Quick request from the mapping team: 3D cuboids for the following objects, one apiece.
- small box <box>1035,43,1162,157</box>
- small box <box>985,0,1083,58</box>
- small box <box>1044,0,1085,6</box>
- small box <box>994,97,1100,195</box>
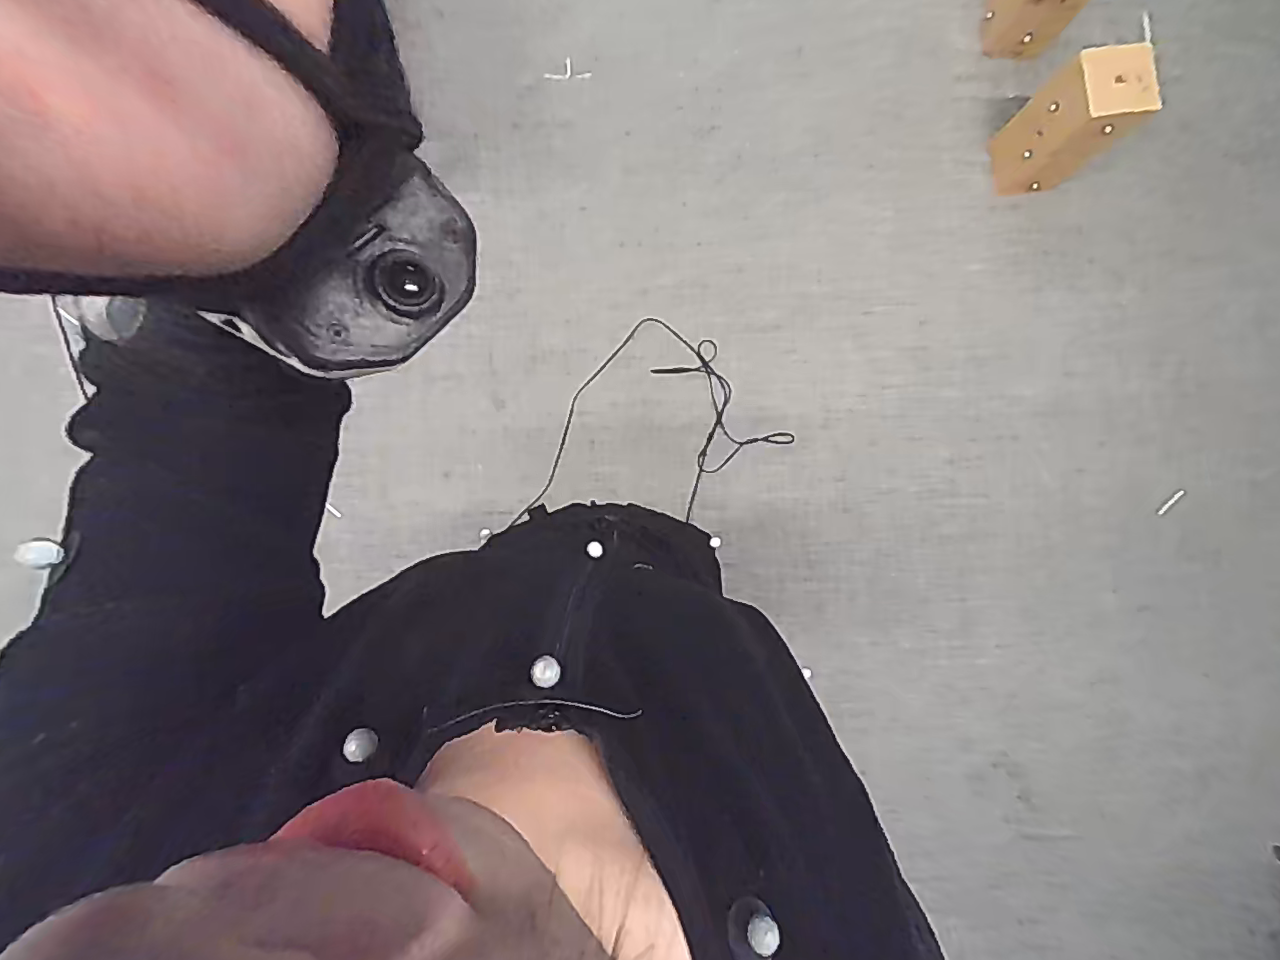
[{"bbox_3d":[1.125,-0.935,1.345,0.179,0.176,0.168,-7,89,-2],"label":"small box"},{"bbox_3d":[1.110,-1.346,1.528,0.168,0.176,0.179,6,88,-1],"label":"small box"},{"bbox_3d":[1.107,-1.353,1.363,0.168,0.176,0.179,7,86,-1],"label":"small box"},{"bbox_3d":[1.126,-0.932,1.510,0.168,0.176,0.179,-7,88,-1],"label":"small box"}]
